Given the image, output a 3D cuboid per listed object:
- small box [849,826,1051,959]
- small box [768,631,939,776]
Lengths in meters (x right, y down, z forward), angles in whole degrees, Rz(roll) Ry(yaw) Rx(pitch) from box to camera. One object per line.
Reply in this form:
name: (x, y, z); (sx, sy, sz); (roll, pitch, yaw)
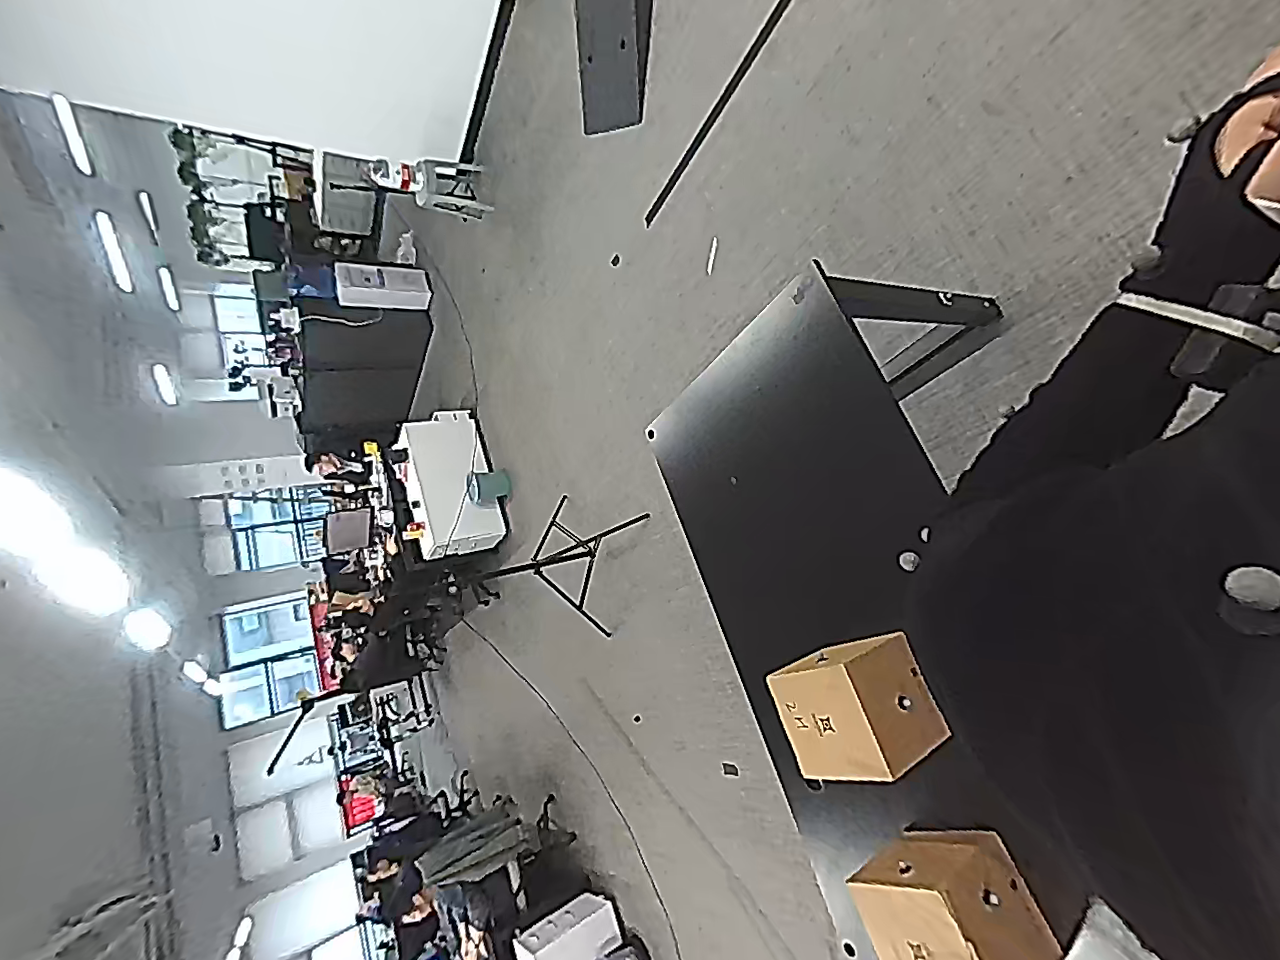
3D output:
small box: (0.456, 0.634, 0.792); (0.179, 0.176, 0.168); (-49, 57, 50)
small box: (0.349, 0.358, 0.878); (0.179, 0.176, 0.168); (-40, 64, 52)
